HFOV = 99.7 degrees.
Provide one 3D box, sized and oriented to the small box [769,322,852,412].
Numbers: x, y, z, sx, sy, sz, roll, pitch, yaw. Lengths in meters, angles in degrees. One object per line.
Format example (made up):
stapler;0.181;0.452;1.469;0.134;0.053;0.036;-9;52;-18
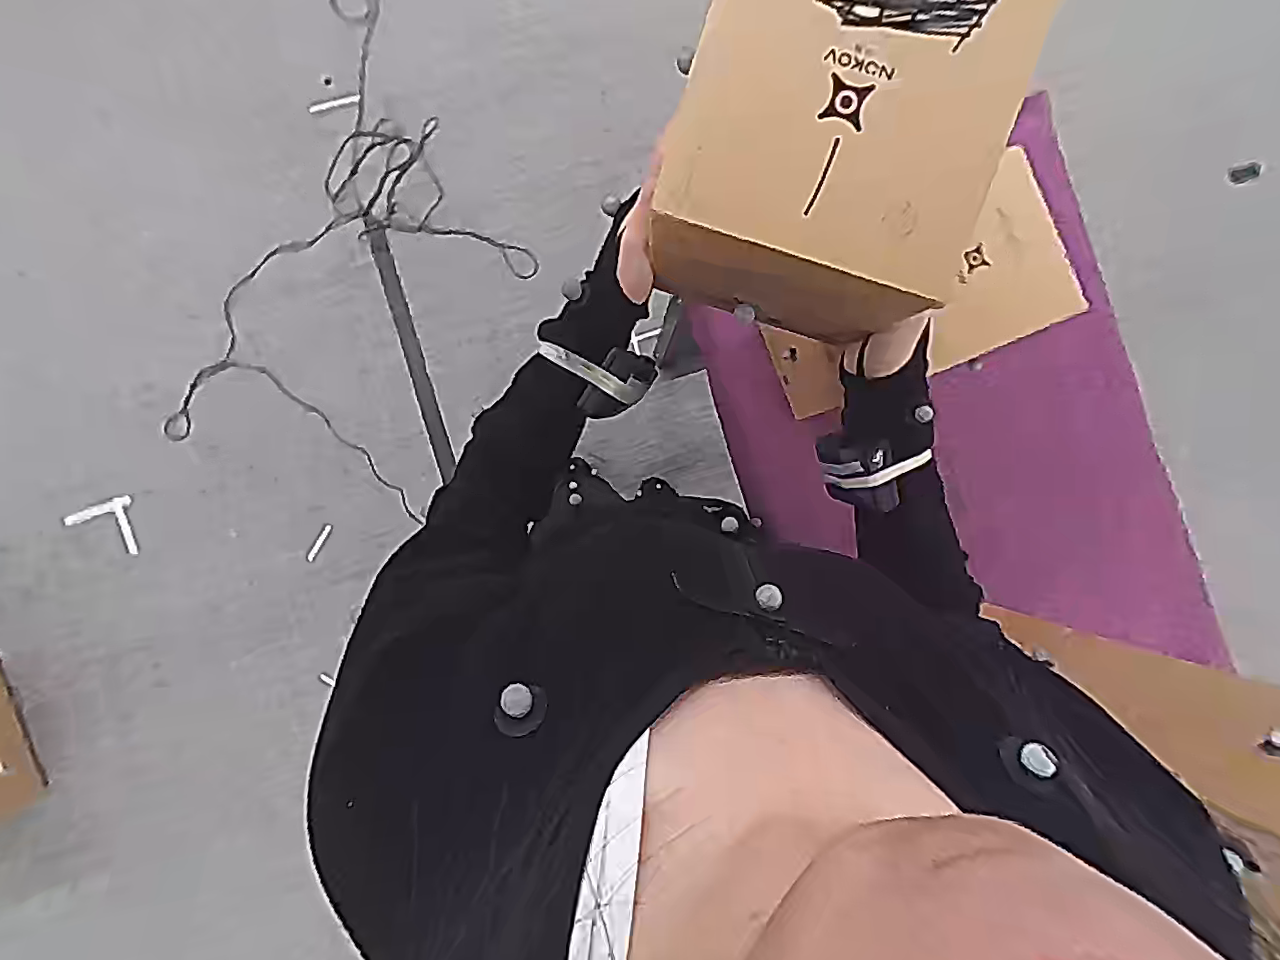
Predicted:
small box;0.291;-0.203;0.731;0.179;0.176;0.168;-22;91;-4

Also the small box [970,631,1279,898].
small box;0.488;0.279;0.573;0.179;0.176;0.168;-17;90;-4

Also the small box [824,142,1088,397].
small box;0.296;-0.201;0.568;0.179;0.176;0.168;-23;92;-5

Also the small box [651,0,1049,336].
small box;0.107;-0.210;0.352;0.168;0.176;0.179;17;97;0
